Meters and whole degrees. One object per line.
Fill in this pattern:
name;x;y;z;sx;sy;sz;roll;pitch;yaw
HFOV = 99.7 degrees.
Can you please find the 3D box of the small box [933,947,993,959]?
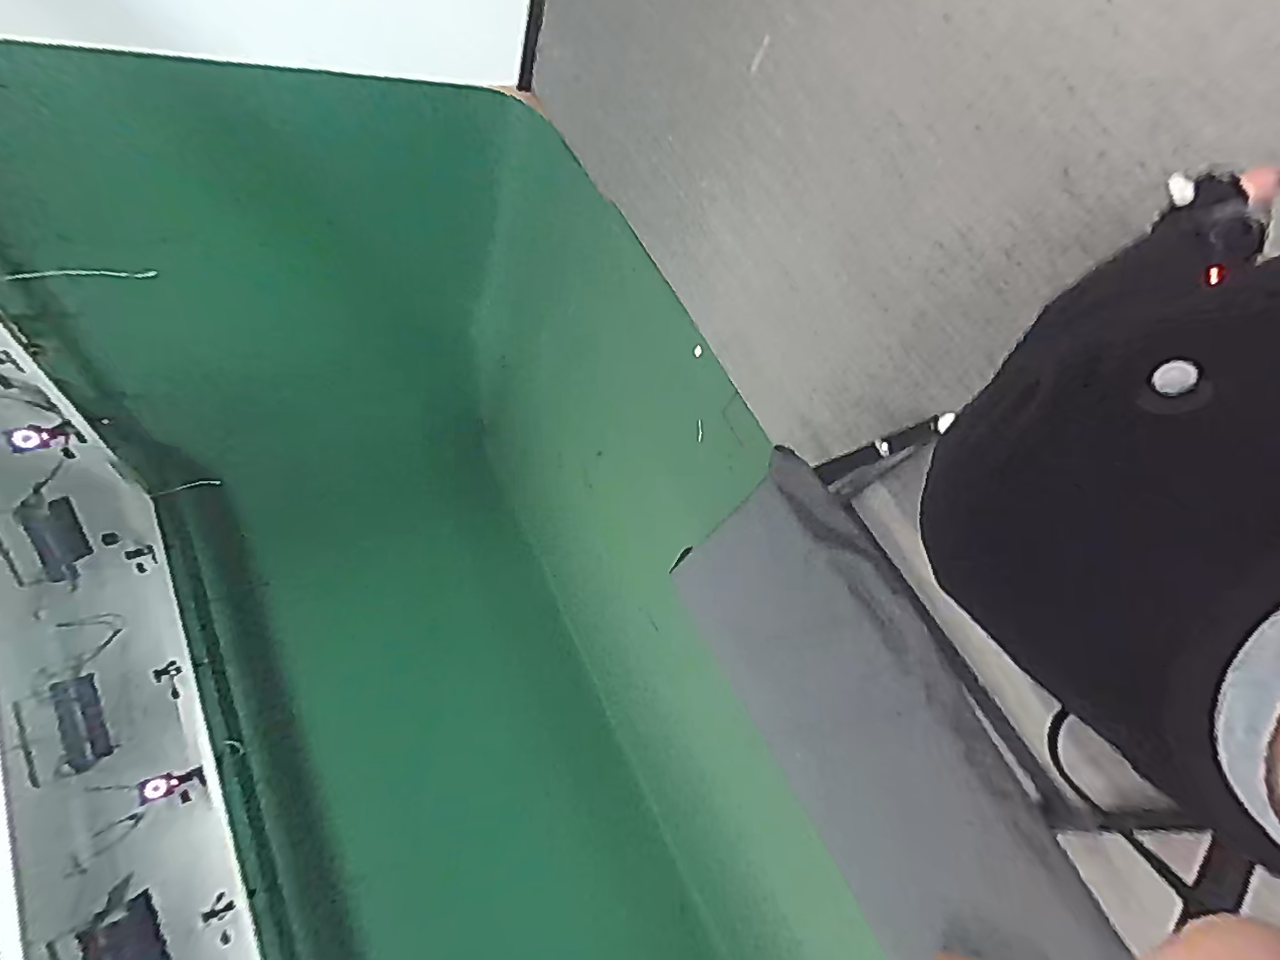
small box;0.666;1.078;1.069;0.168;0.176;0.179;61;147;19
